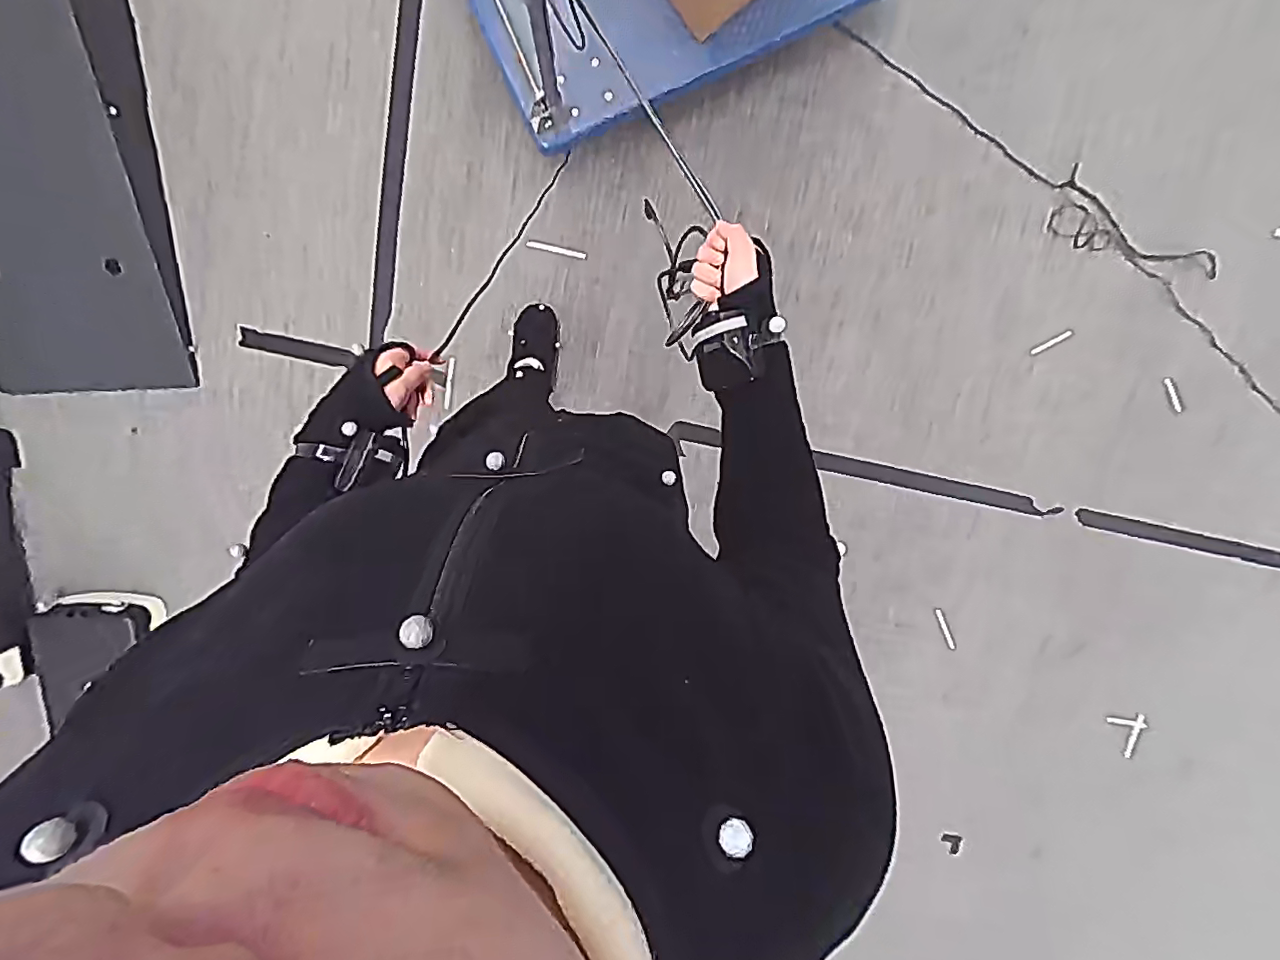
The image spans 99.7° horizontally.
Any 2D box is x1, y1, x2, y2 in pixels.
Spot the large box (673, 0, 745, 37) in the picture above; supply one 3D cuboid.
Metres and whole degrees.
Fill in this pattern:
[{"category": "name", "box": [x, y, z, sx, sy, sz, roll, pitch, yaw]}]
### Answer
[{"category": "large box", "box": [0.125, -1.145, 0.952, 0.320, 0.320, 0.408, -39, 101, 6]}]
